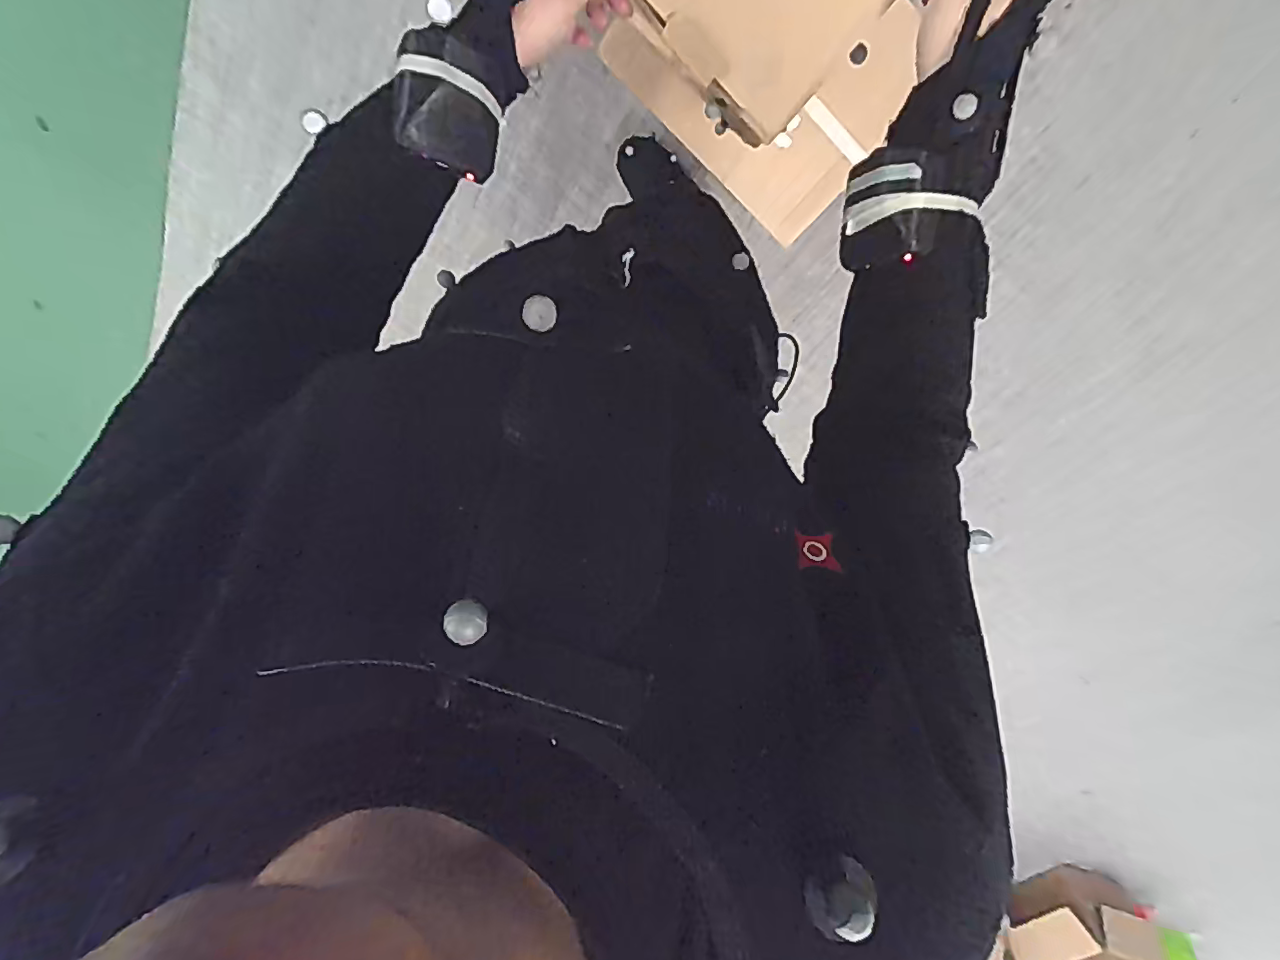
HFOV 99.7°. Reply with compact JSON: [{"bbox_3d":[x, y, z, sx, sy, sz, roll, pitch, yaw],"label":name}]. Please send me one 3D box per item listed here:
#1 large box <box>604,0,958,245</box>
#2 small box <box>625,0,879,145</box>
[{"bbox_3d":[0.204,-0.669,0.880,0.408,0.320,0.320,37,121,-17],"label":"large box"},{"bbox_3d":[0.109,-0.467,0.536,0.179,0.176,0.168,35,120,-16],"label":"small box"}]
